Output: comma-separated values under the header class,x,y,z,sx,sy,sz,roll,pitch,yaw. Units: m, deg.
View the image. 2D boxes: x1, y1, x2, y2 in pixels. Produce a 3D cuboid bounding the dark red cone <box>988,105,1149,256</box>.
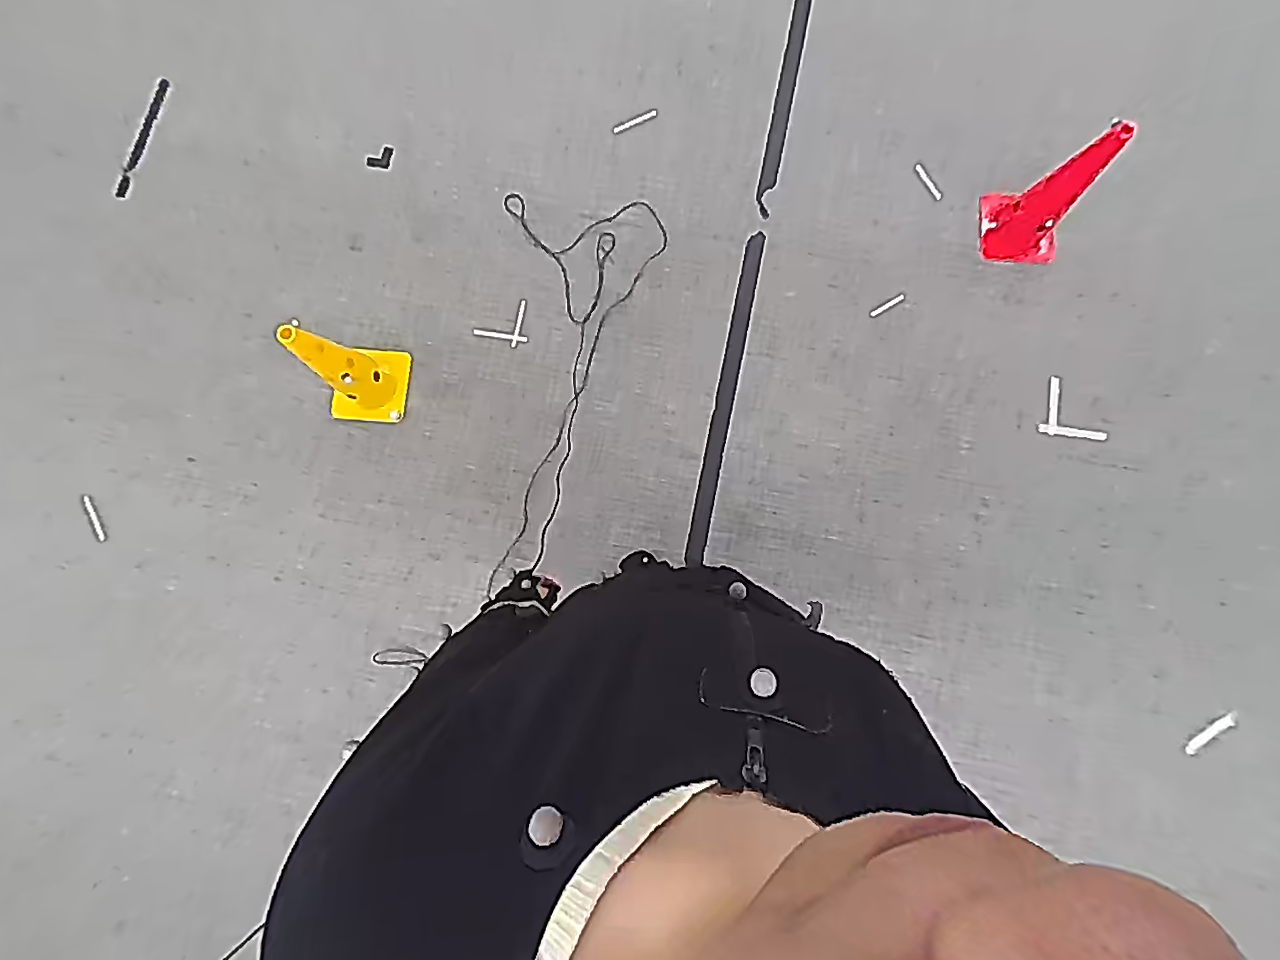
class,x,y,z,sx,sy,sz,roll,pitch,yaw
dark red cone,1.037,-0.729,1.301,0.201,0.394,0.202,3,82,3
